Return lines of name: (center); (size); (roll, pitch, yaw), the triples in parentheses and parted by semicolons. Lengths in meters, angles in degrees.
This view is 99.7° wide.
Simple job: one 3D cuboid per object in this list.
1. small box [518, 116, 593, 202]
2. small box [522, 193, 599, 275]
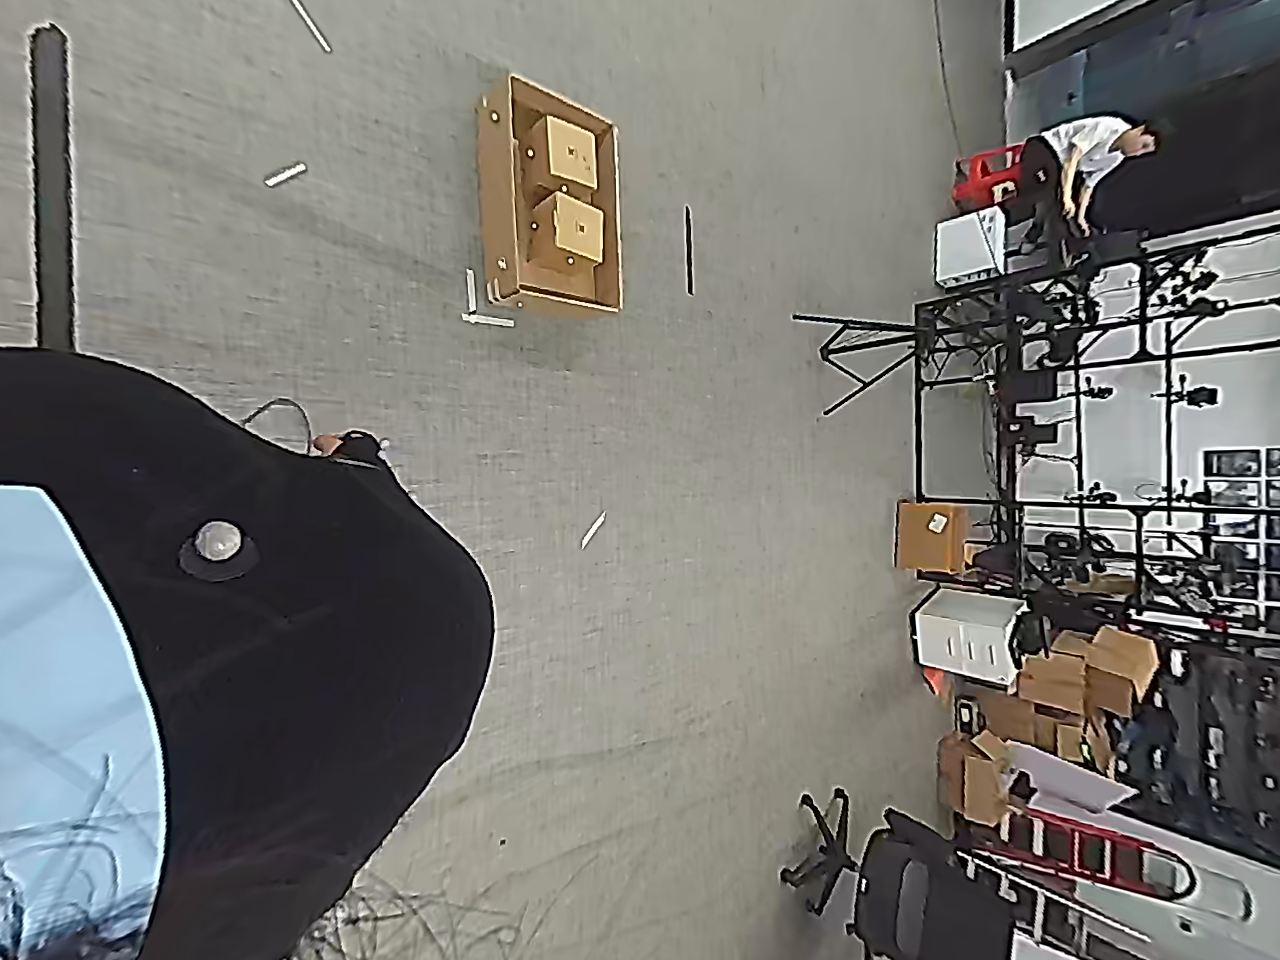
small box: (-0.269, -0.980, 1.678); (0.179, 0.176, 0.168); (-6, 97, -43)
small box: (-0.250, -0.764, 1.702); (0.179, 0.176, 0.168); (3, 88, -43)
